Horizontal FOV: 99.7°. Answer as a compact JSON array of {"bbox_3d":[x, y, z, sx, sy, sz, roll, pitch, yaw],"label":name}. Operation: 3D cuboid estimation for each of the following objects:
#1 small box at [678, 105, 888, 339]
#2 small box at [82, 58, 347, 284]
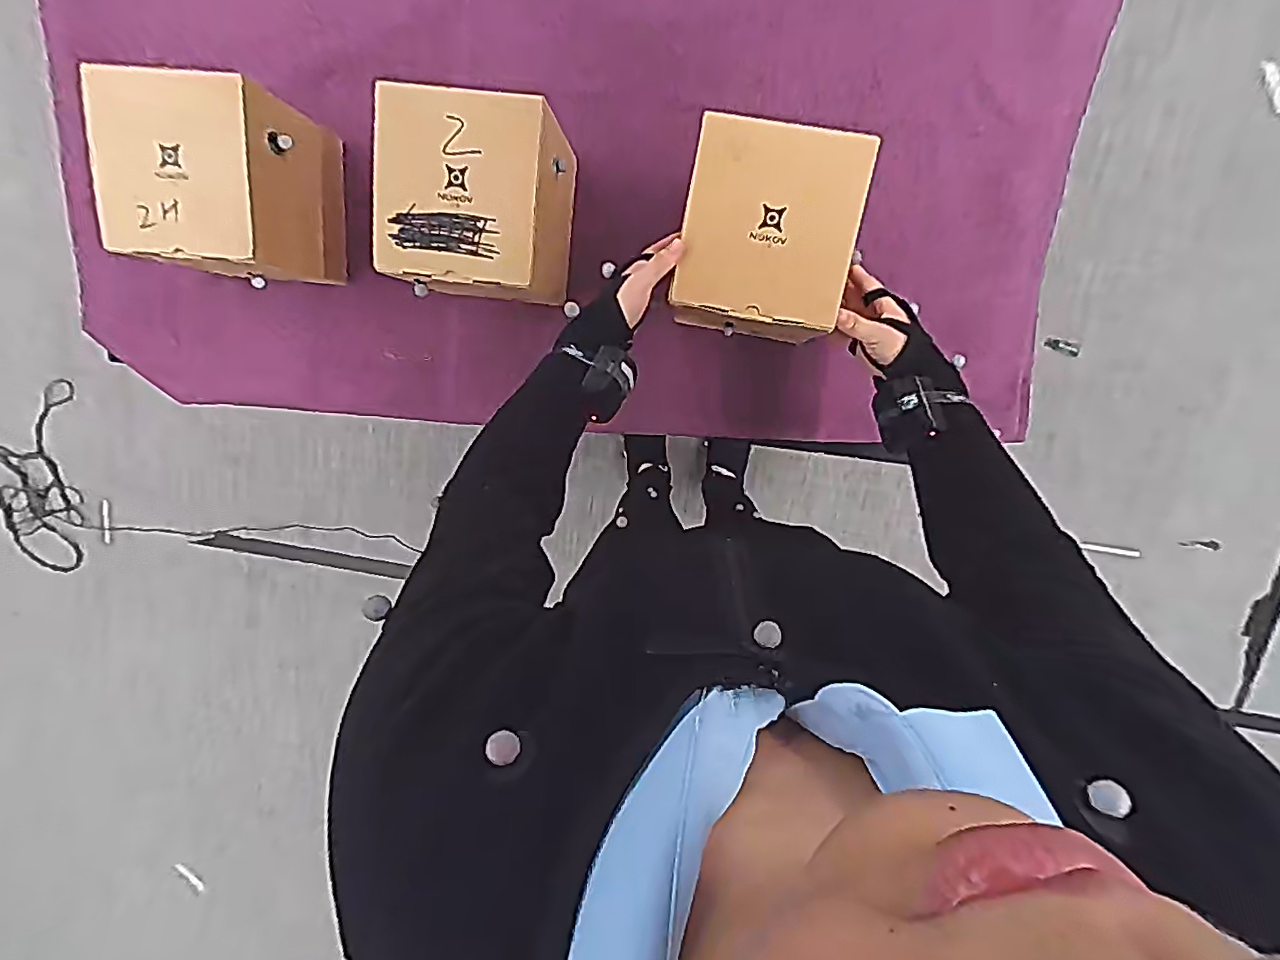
[{"bbox_3d":[0.137,-0.259,0.584,0.168,0.176,0.179,11,102,3],"label":"small box"},{"bbox_3d":[-0.460,-0.332,0.615,0.168,0.176,0.179,5,103,2],"label":"small box"}]
